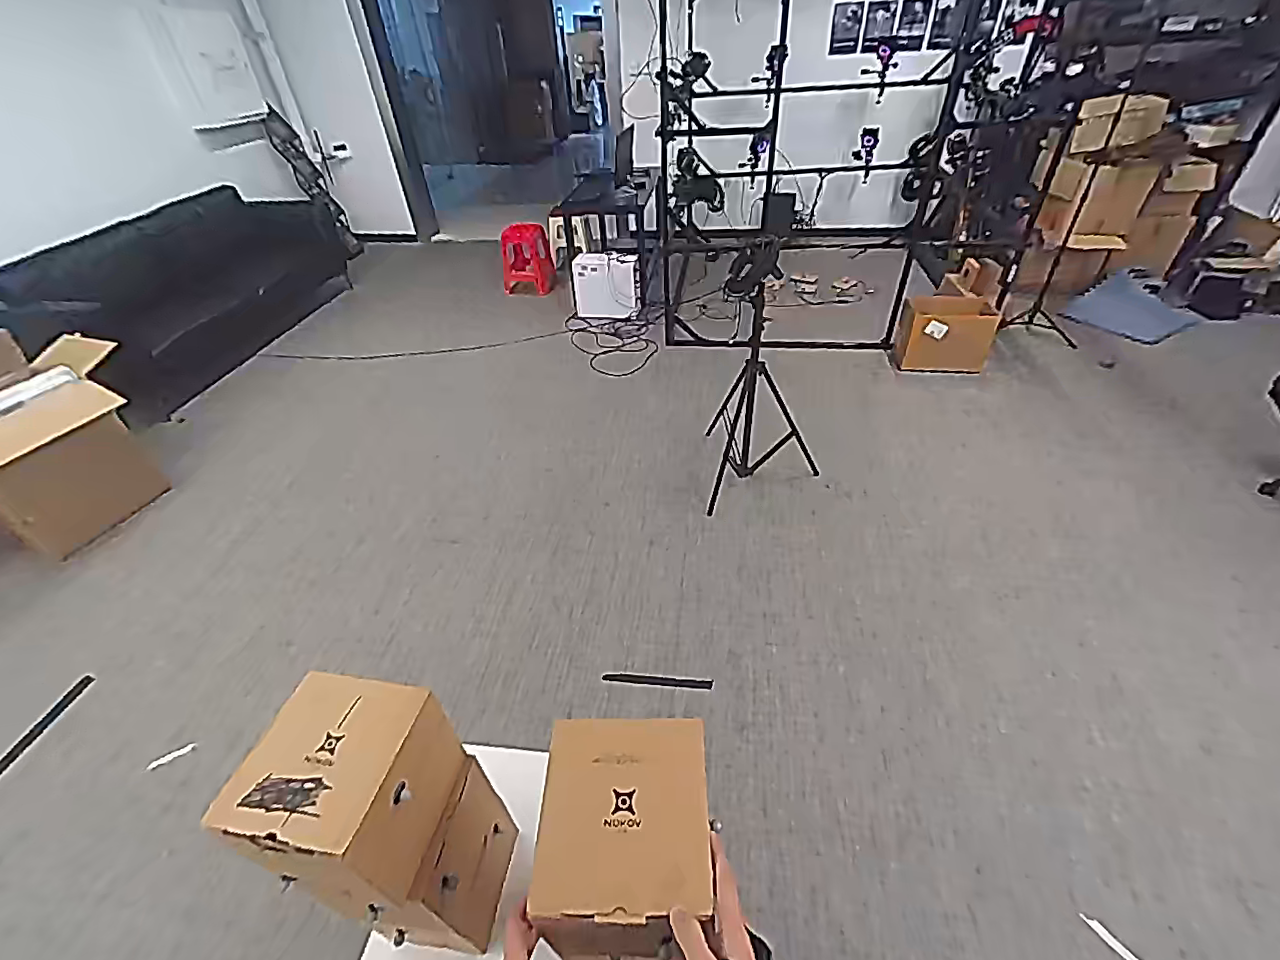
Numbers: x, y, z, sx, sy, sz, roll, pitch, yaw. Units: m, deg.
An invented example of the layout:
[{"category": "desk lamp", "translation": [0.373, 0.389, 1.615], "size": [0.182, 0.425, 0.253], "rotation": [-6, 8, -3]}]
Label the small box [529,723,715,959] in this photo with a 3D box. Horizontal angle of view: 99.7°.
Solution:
[{"category": "small box", "translation": [-0.009, 0.382, 0.575], "size": [0.168, 0.176, 0.179], "rotation": [-1, 39, 2]}]

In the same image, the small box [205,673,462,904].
[{"category": "small box", "translation": [-0.331, 0.358, 0.631], "size": [0.168, 0.176, 0.179], "rotation": [5, 39, 10]}]

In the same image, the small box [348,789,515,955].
[{"category": "small box", "translation": [-0.307, 0.608, 0.845], "size": [0.168, 0.176, 0.179], "rotation": [3, 40, 7]}]
